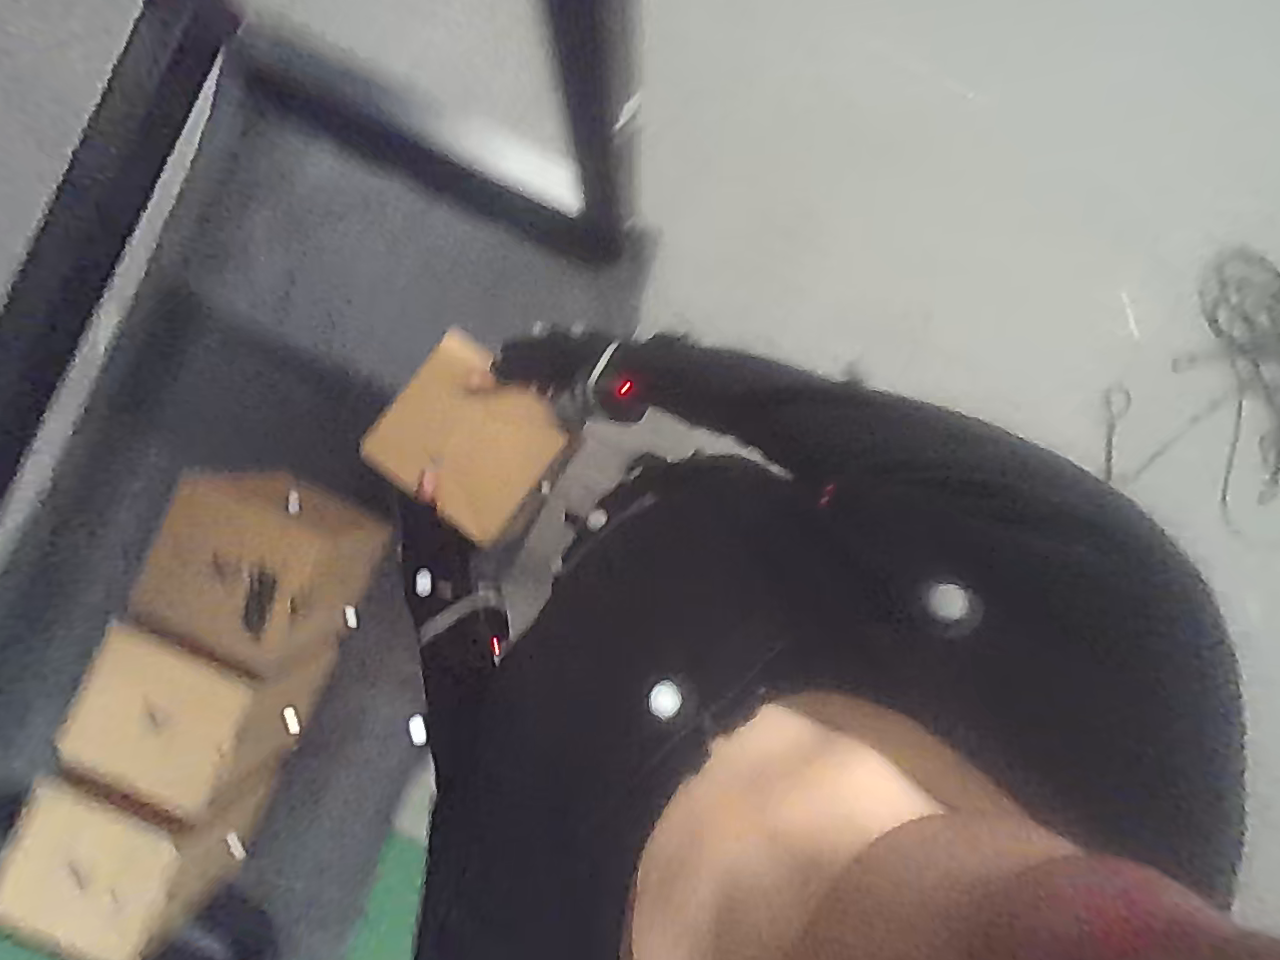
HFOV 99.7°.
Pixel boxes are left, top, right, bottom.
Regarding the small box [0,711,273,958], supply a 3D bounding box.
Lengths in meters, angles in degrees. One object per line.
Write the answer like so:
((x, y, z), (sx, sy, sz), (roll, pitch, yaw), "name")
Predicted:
((-0.622, 0.420, 0.678), (0.179, 0.176, 0.168), (26, 92, 0), "small box")
